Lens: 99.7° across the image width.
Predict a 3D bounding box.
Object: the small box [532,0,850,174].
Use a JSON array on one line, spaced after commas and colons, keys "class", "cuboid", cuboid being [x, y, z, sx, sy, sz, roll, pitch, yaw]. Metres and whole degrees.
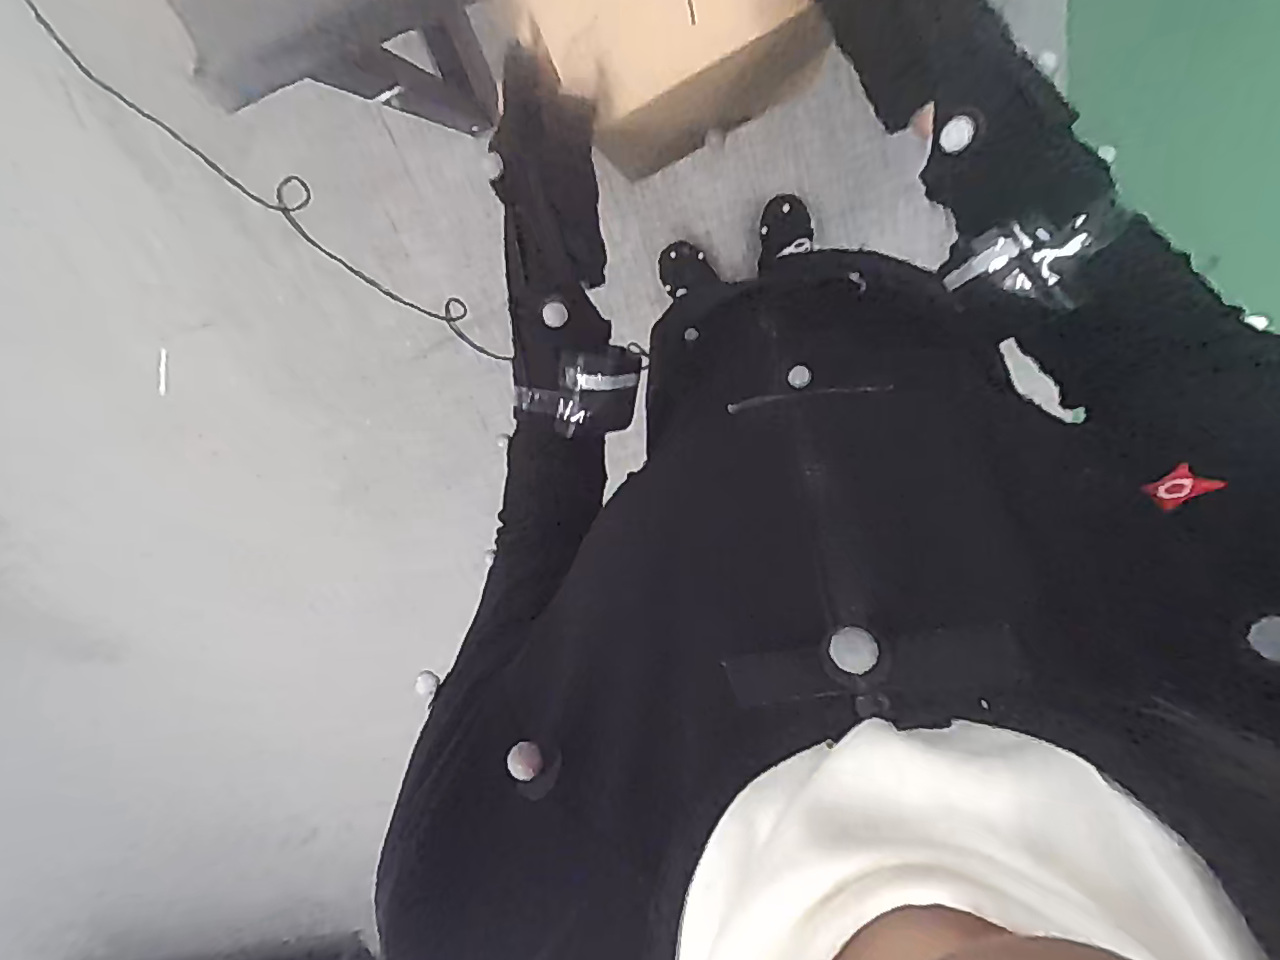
[{"class": "small box", "cuboid": [0.019, -0.335, 0.351, 0.168, 0.176, 0.179, -20, 106, 16]}]
